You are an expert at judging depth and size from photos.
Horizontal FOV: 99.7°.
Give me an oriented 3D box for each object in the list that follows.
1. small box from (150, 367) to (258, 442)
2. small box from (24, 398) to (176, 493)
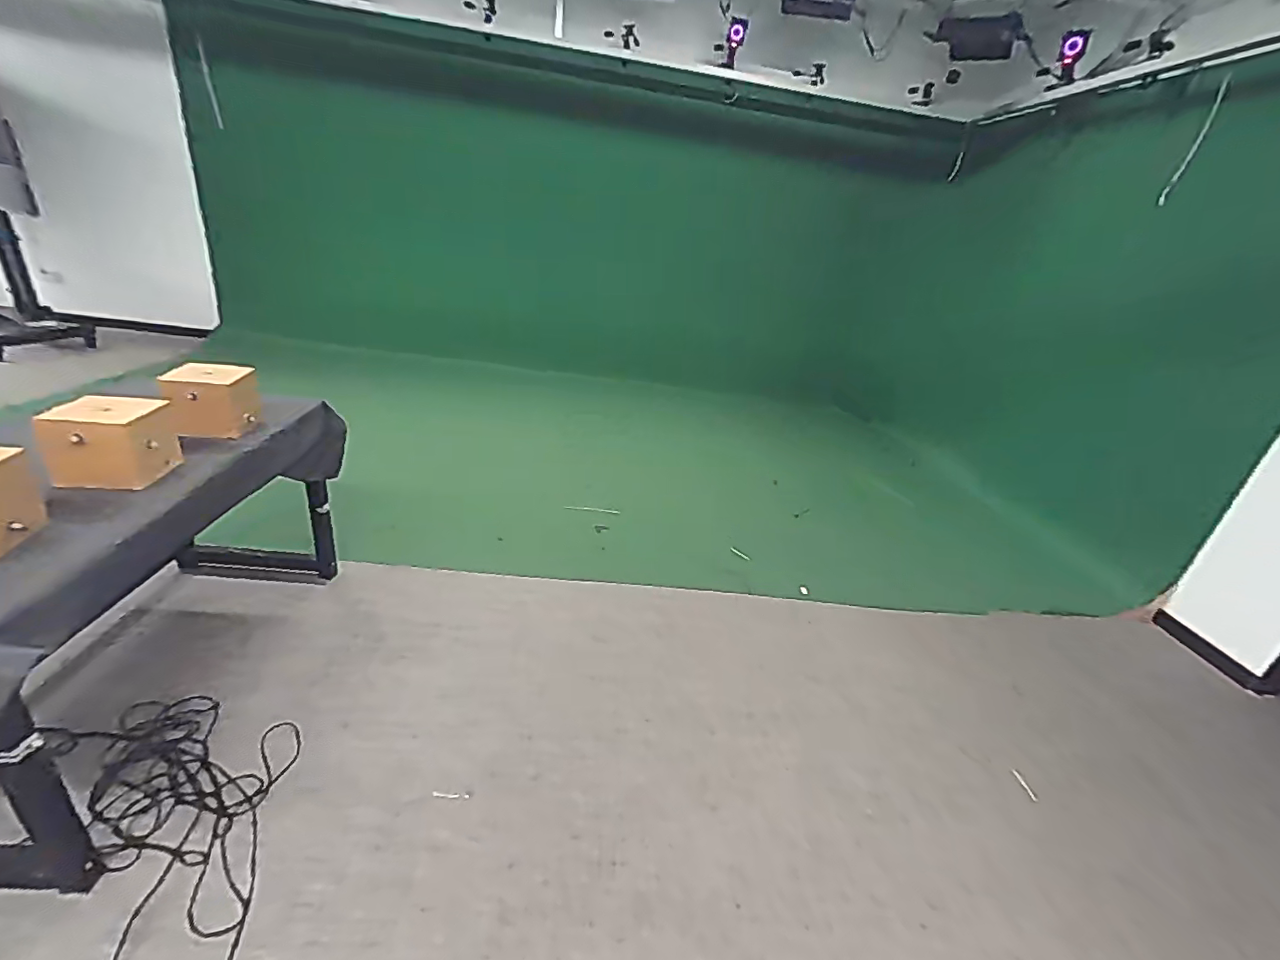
[{"bbox_3d":[-1.239,-0.217,1.551,0.179,0.176,0.168,3,27,-13],"label":"small box"},{"bbox_3d":[-1.235,-0.079,1.257,0.179,0.176,0.168,3,26,-11],"label":"small box"}]
